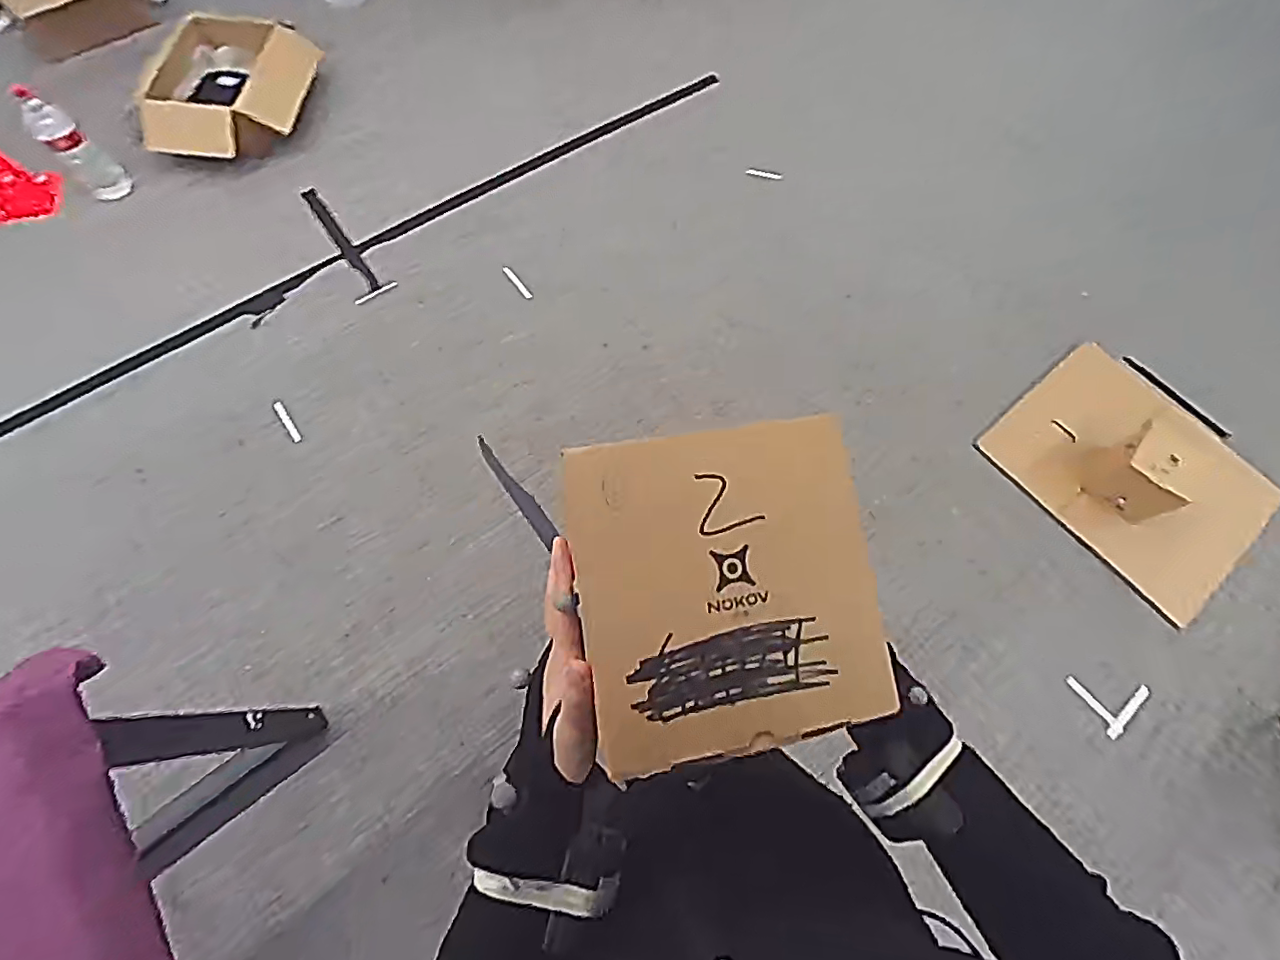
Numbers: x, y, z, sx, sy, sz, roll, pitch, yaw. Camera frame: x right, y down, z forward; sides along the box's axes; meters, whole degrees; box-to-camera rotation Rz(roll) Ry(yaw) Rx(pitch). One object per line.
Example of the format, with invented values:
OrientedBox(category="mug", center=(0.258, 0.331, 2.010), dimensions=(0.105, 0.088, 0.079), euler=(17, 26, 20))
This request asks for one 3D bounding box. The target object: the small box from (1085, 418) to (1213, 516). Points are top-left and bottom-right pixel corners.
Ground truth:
OrientedBox(category="small box", center=(1.387, -0.032, 1.487), dimensions=(0.168, 0.176, 0.179), euler=(40, 73, 15))
